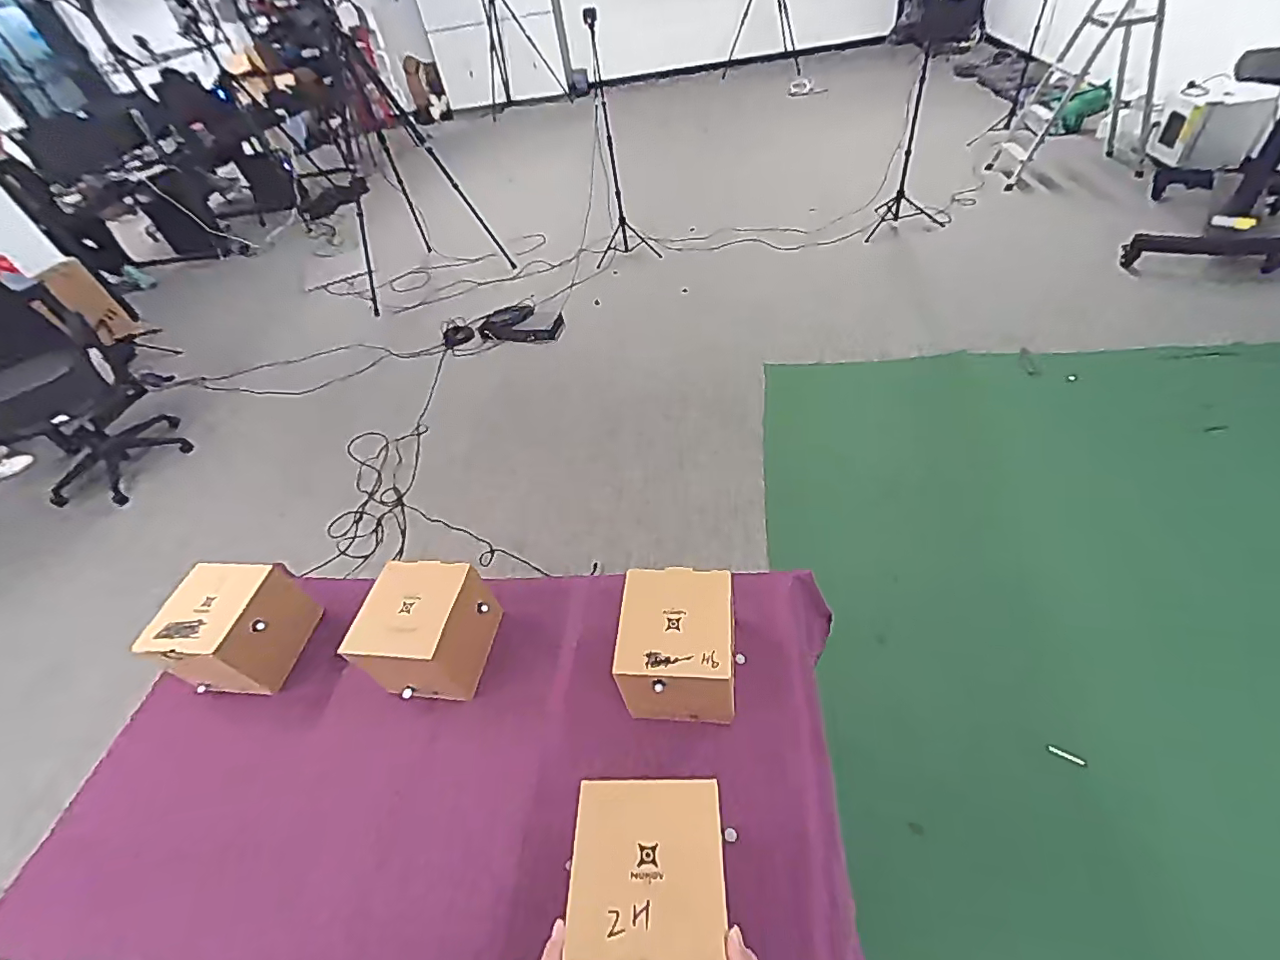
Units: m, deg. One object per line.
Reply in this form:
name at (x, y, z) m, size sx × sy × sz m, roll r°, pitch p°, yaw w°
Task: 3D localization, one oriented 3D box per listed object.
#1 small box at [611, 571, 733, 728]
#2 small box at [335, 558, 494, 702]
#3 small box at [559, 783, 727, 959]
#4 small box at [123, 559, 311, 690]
small box at (0.060, 0.264, 0.847) m, size 0.168 × 0.176 × 0.179 m, roll 0°, pitch 47°, yaw 10°
small box at (-0.369, 0.257, 0.928) m, size 0.168 × 0.176 × 0.179 m, roll 1°, pitch 49°, yaw 11°
small box at (0.011, 0.482, 0.630) m, size 0.168 × 0.176 × 0.179 m, roll -2°, pitch 39°, yaw 5°
small box at (-0.743, 0.264, 0.979) m, size 0.168 × 0.176 × 0.179 m, roll 1°, pitch 48°, yaw 9°
